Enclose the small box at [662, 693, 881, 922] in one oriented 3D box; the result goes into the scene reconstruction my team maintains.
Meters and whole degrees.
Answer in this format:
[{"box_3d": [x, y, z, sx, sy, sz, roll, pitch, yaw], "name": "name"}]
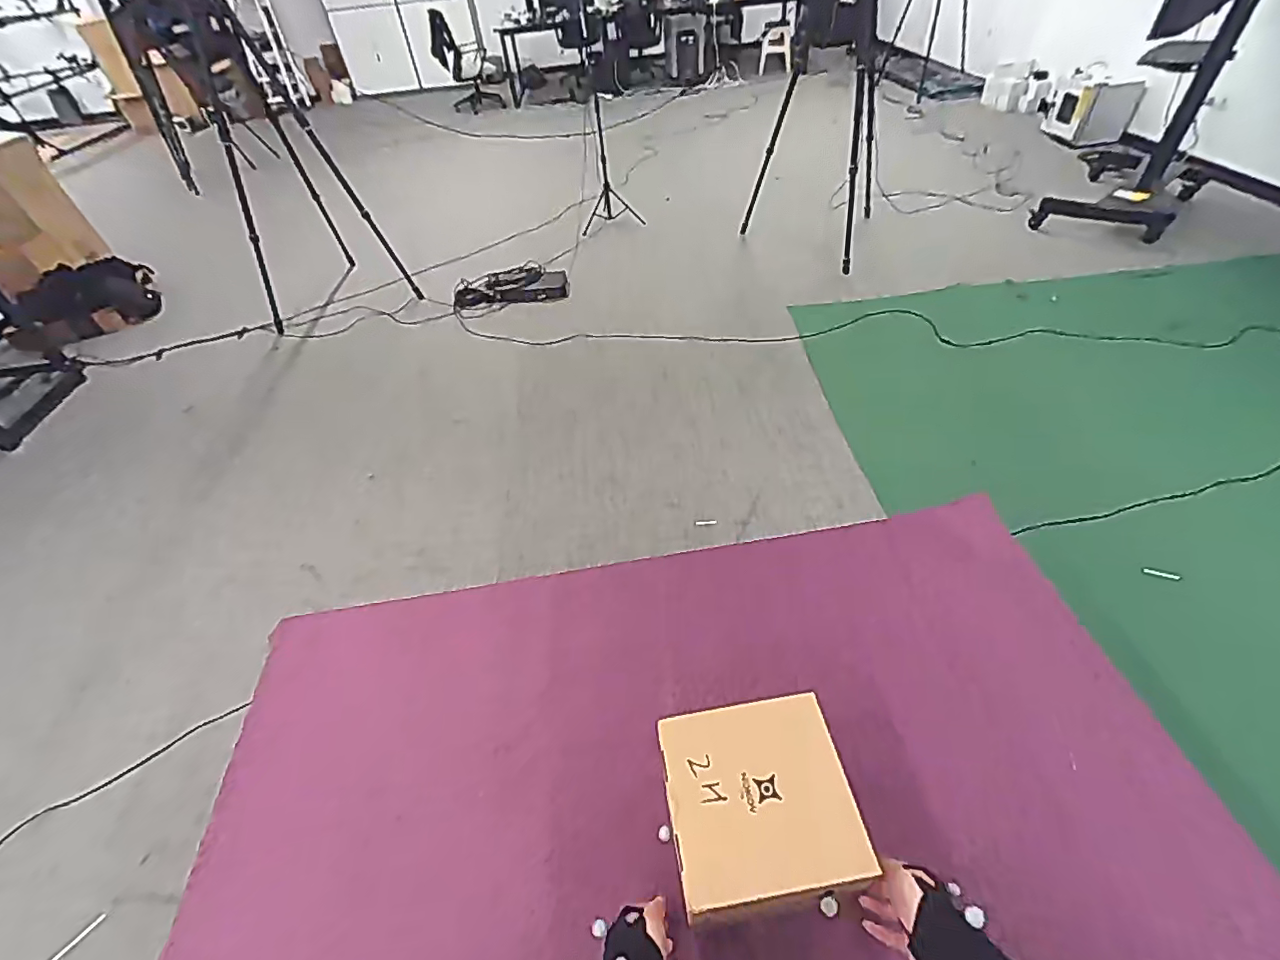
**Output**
[{"box_3d": [0.126, 0.356, 0.586, 0.179, 0.176, 0.168, -10, 46, -2], "name": "small box"}]
